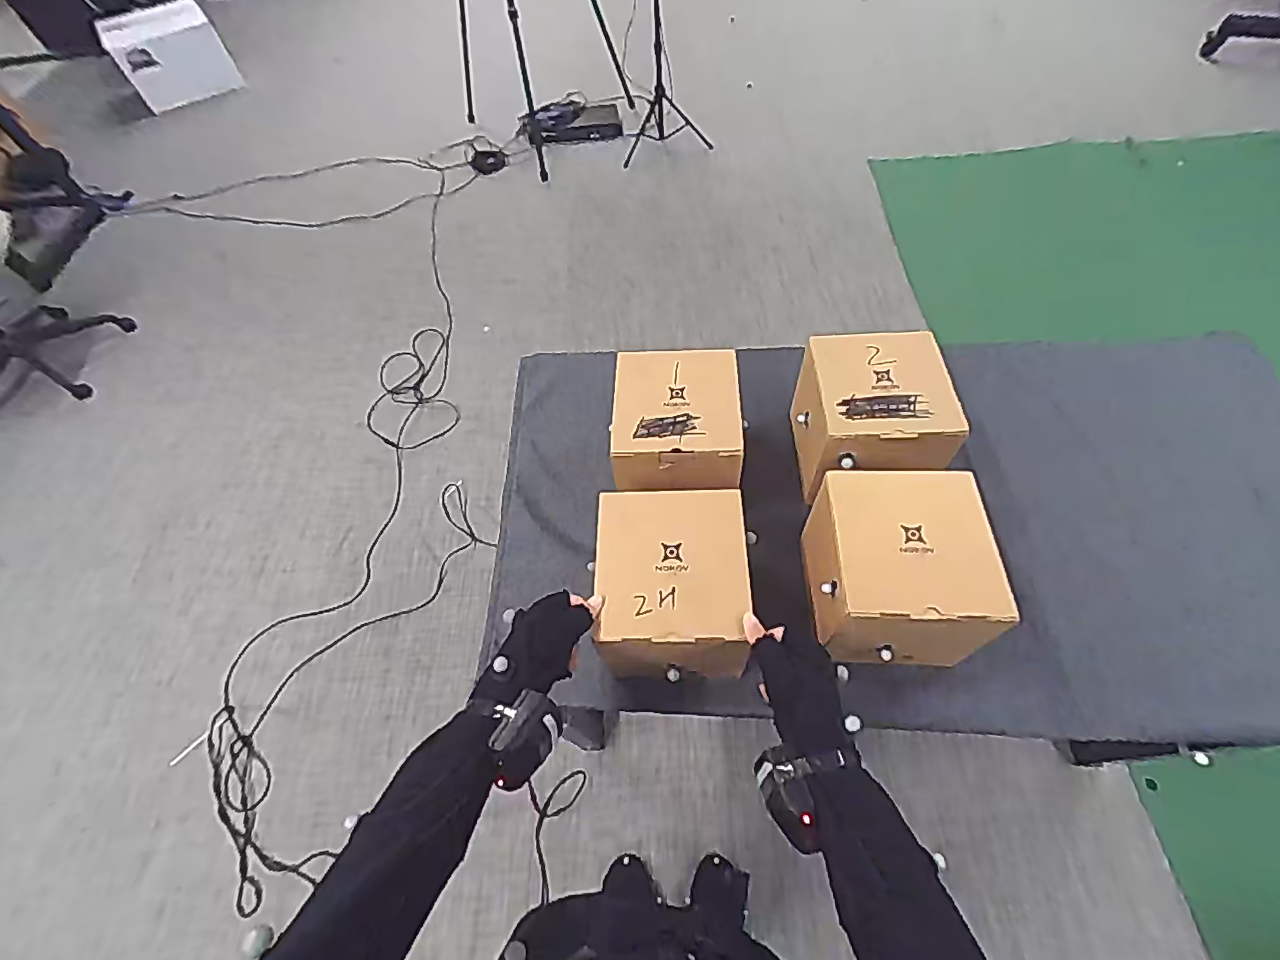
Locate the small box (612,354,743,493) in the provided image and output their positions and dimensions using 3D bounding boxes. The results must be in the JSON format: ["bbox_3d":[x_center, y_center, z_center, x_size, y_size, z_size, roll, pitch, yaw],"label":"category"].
[{"bbox_3d":[0.056,-0.058,0.777,0.168,0.176,0.179,0,57,4],"label":"small box"}]

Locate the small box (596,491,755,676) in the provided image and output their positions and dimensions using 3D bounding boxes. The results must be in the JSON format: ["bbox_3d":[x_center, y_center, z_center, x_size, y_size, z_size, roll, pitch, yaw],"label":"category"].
[{"bbox_3d":[0.042,0.130,0.658,0.168,0.176,0.179,-2,59,4],"label":"small box"}]
